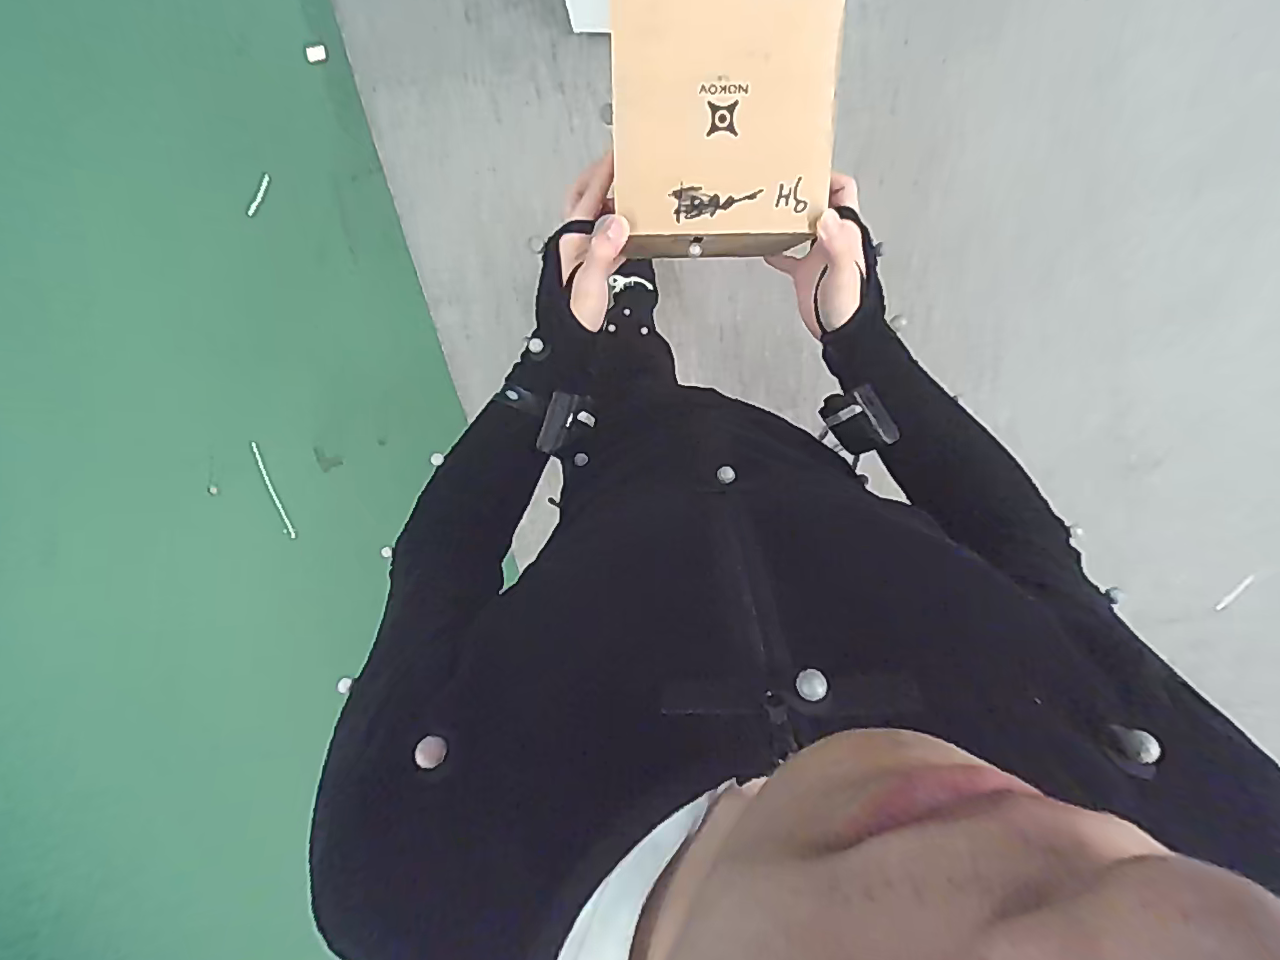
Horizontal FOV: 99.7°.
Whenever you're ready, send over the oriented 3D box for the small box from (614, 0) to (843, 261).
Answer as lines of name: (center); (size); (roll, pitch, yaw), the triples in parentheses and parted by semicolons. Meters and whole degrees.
small box: (0.062, -0.298, 0.474); (0.168, 0.176, 0.179); (0, 106, 1)
